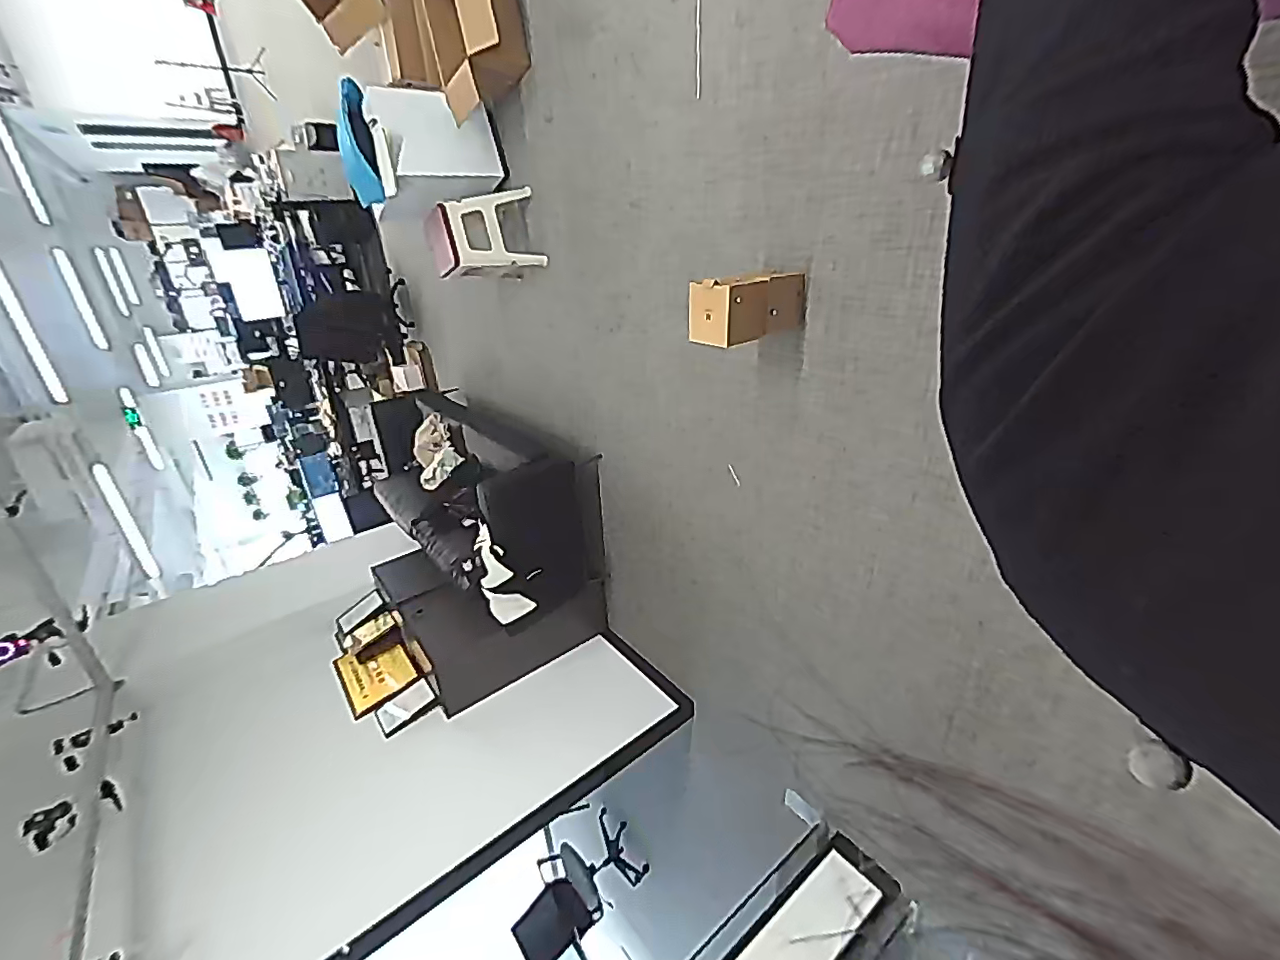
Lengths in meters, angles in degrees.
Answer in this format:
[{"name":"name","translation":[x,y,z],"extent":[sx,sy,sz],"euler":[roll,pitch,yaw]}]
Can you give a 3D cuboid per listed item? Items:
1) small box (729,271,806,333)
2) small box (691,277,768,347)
[{"name":"small box","translation":[0.401,-0.572,1.727],"extent":[0.179,0.176,0.168],"euler":[27,128,47]},{"name":"small box","translation":[0.272,-0.514,1.645],"extent":[0.168,0.176,0.179],"euler":[27,127,46]}]
